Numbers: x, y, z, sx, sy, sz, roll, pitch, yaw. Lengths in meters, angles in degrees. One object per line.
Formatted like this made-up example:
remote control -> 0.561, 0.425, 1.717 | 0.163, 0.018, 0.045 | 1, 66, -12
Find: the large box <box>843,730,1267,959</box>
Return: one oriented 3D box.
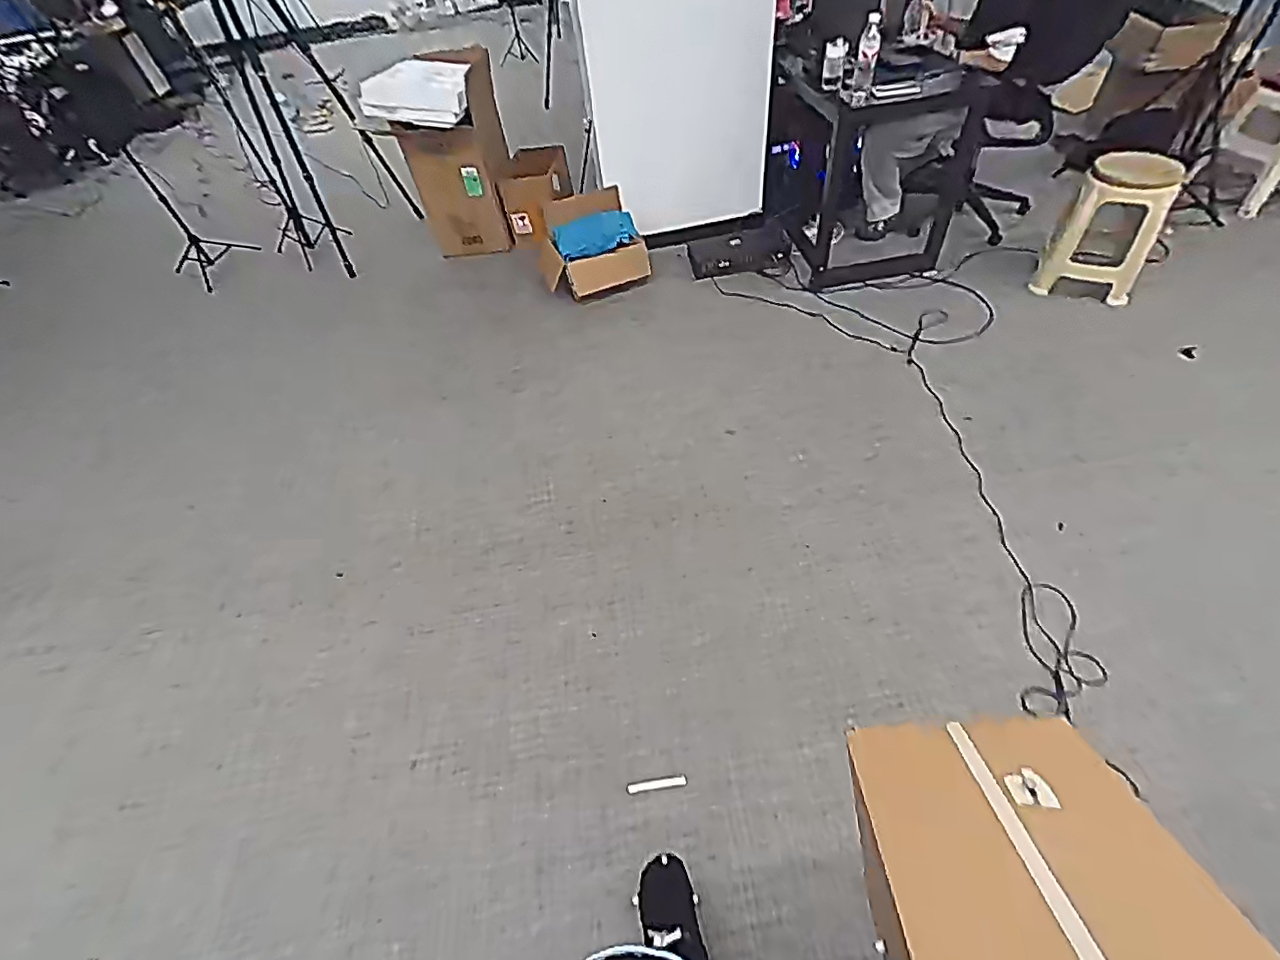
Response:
large box -> 0.471, 0.581, 0.671 | 0.320, 0.320, 0.408 | -7, 10, 10
